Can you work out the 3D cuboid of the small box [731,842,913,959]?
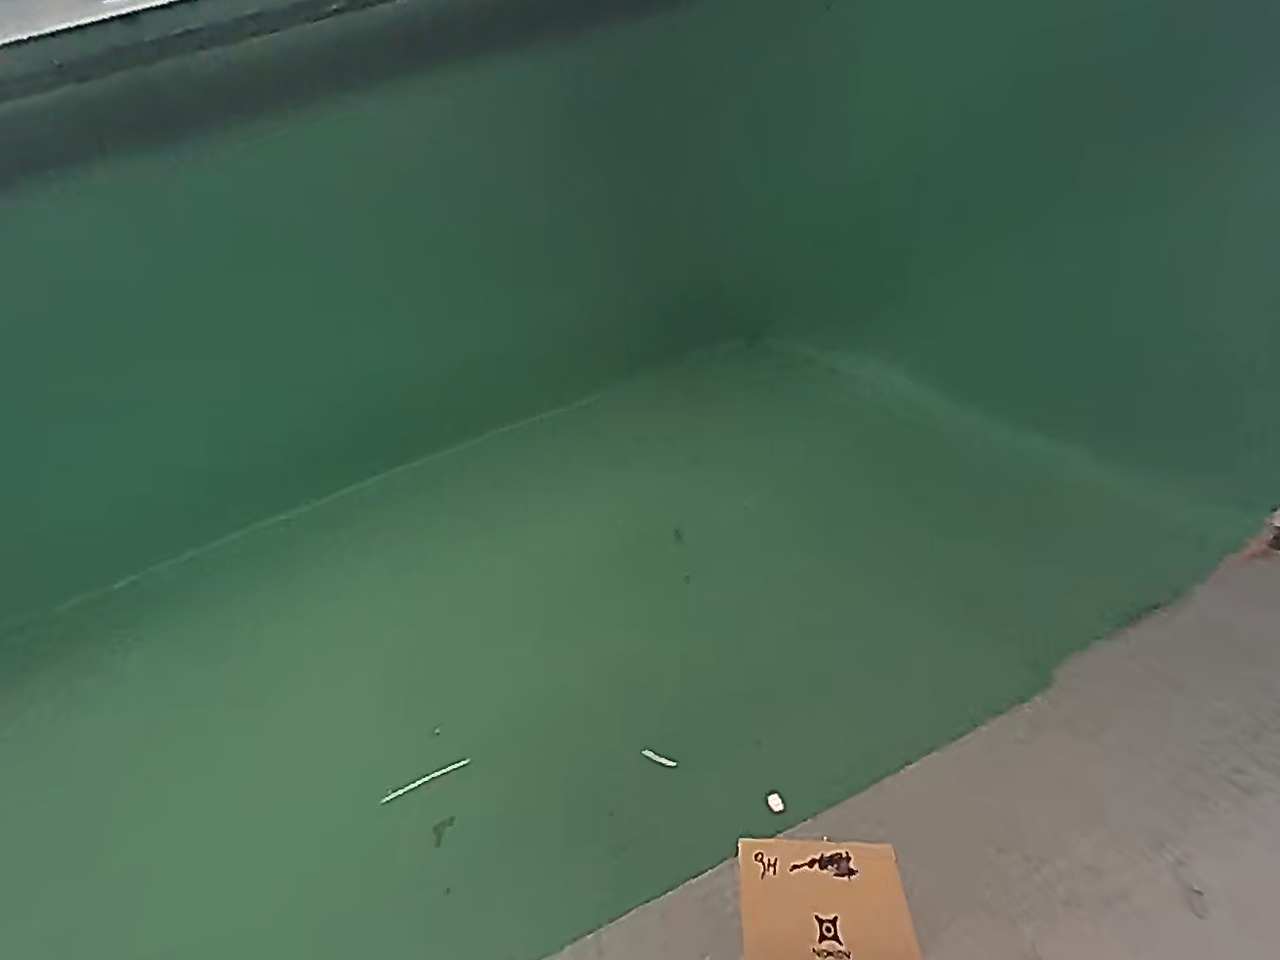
[{"bbox_3d":[0.186,0.513,0.570,0.168,0.176,0.179,-3,37,7],"label":"small box"}]
